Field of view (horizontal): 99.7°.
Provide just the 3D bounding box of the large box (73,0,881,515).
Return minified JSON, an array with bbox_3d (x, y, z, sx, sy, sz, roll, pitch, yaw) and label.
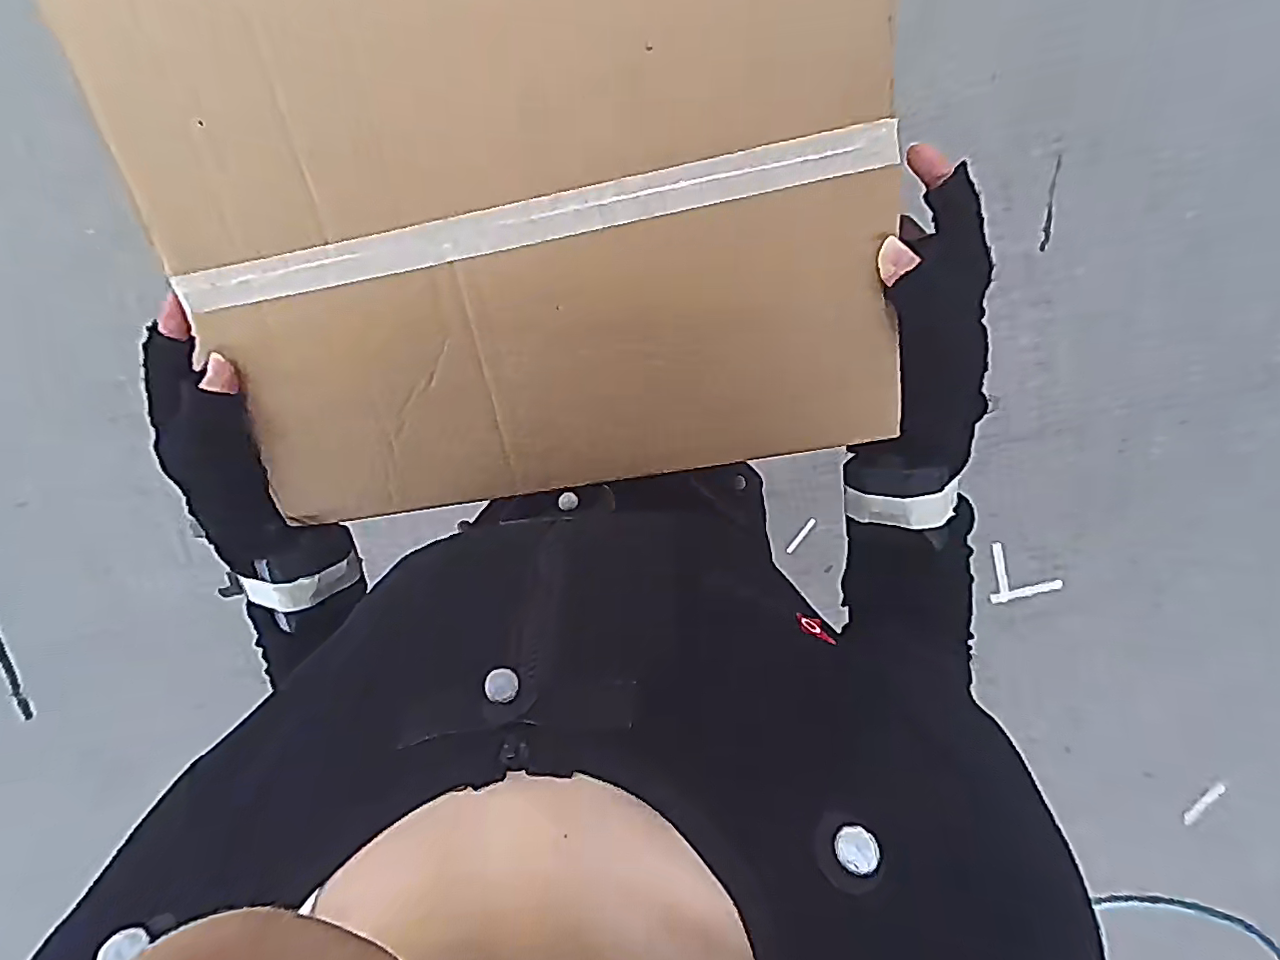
[{"bbox_3d":[-0.063,-0.201,0.444,0.408,0.320,0.320,-9,110,7],"label":"large box"}]
